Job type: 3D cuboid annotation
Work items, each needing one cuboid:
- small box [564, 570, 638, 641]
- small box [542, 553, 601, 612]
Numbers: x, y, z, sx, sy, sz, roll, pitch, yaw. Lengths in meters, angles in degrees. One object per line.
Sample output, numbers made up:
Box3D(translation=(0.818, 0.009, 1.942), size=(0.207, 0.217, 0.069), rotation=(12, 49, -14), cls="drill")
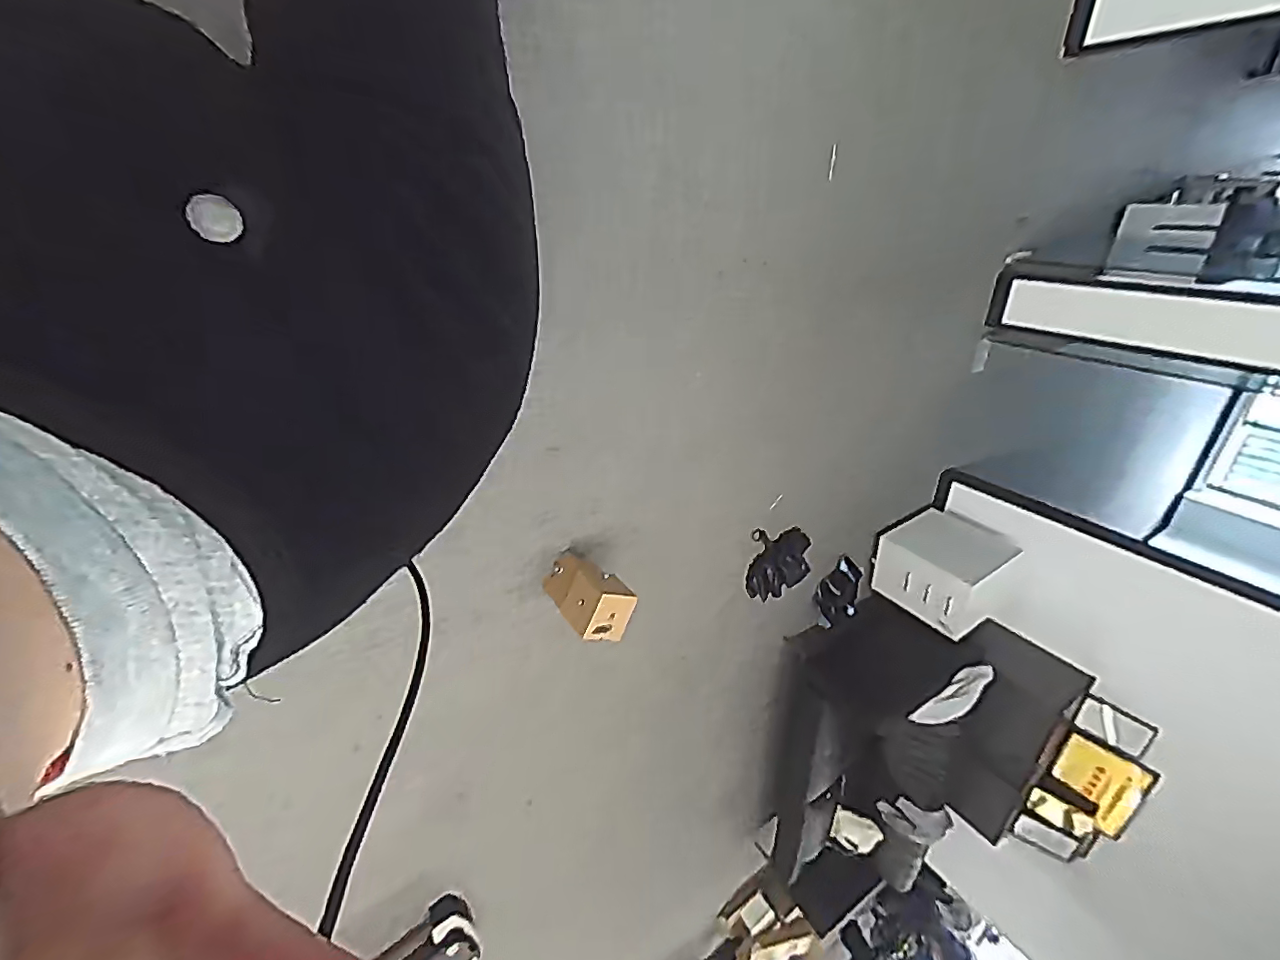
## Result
Box3D(translation=(-0.142, 0.434, 1.872), size=(0.168, 0.176, 0.179), rotation=(16, 101, -41), cls="small box")
Box3D(translation=(-0.228, 0.395, 2.009), size=(0.179, 0.176, 0.168), rotation=(33, 90, -41), cls="small box")
